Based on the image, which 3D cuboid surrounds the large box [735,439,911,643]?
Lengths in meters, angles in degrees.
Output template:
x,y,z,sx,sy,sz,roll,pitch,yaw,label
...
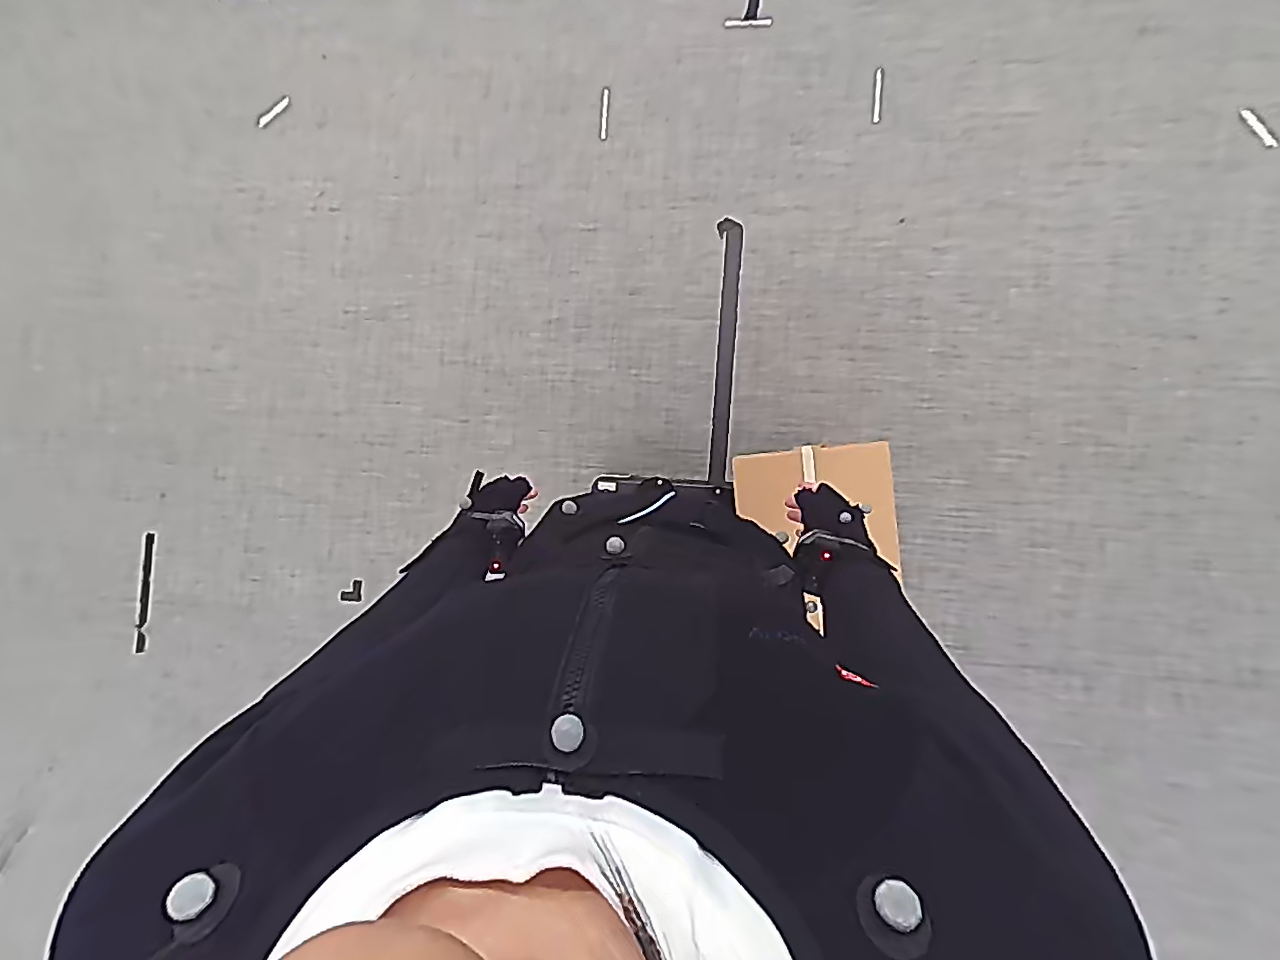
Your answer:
x,y,z,sx,sy,sz,roll,pitch,yaw,label
0.402,0.127,1.256,0.320,0.320,0.408,-6,90,13,large box
